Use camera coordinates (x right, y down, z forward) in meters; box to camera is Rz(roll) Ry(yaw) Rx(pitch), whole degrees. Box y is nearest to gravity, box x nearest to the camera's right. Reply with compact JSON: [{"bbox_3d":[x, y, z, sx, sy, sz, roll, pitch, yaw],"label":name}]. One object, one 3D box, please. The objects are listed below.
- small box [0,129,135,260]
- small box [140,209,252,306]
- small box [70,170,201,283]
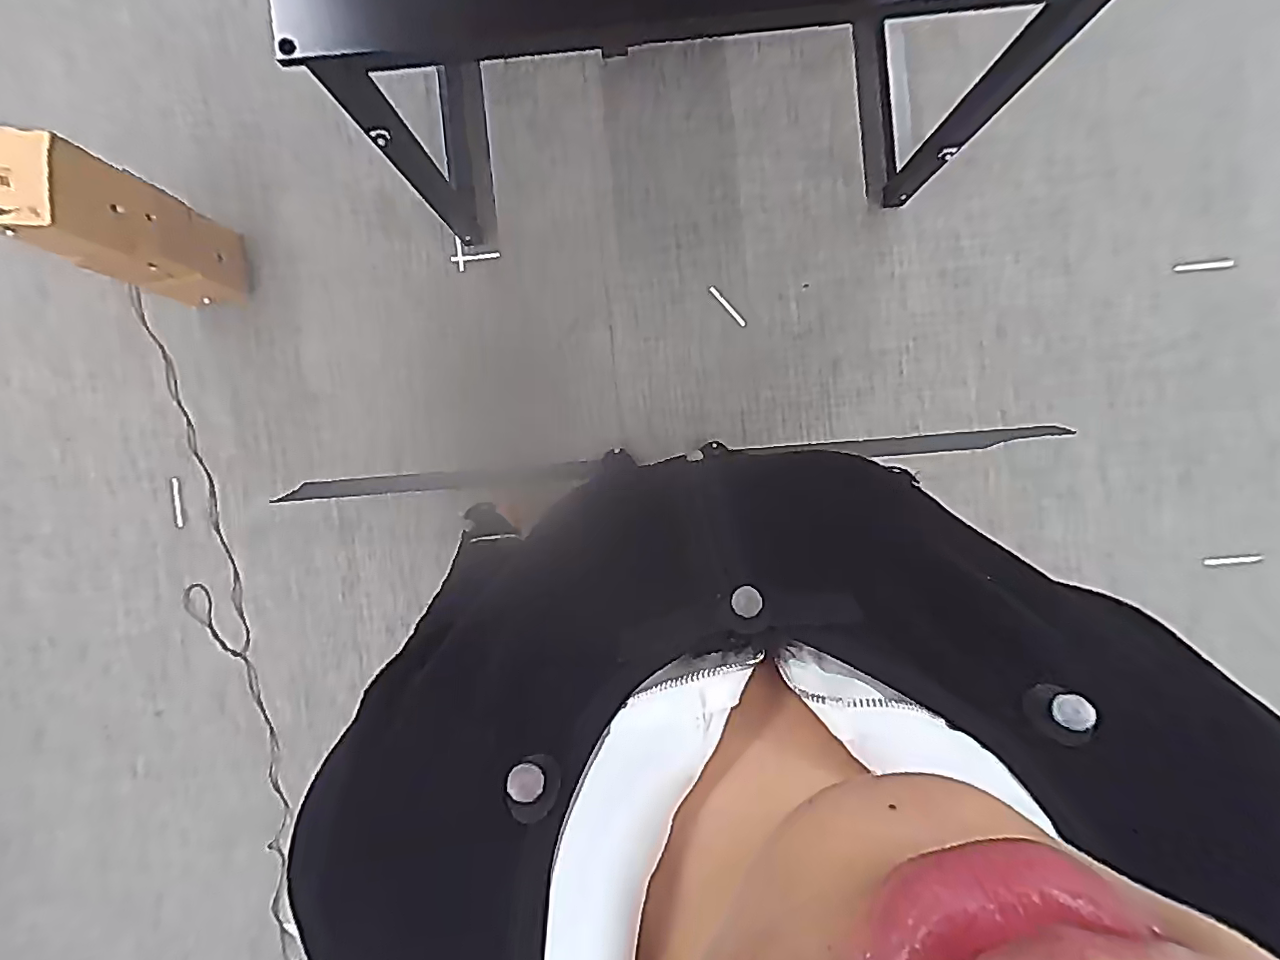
[{"bbox_3d":[-1.163,-0.561,1.077,0.168,0.176,0.179,2,92,0],"label":"small box"},{"bbox_3d":[-1.157,-0.571,1.403,0.168,0.176,0.179,-9,93,2],"label":"small box"},{"bbox_3d":[-1.162,-0.569,1.241,0.168,0.176,0.179,-12,91,1],"label":"small box"}]
